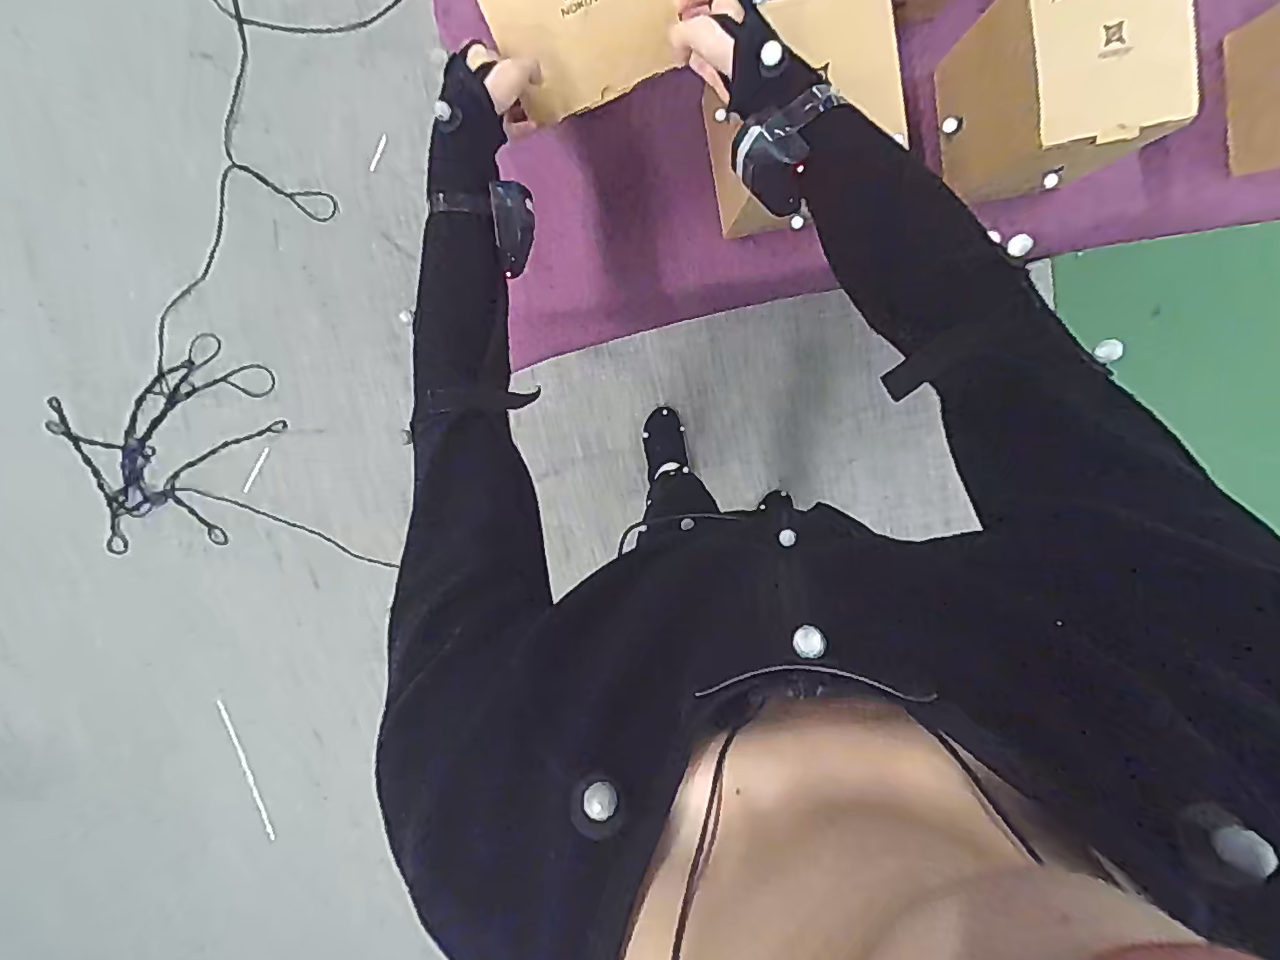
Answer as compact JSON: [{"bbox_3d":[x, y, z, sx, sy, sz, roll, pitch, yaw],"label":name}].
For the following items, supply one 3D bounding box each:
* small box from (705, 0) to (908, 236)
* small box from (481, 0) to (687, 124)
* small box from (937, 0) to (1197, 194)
[{"bbox_3d":[0.175,-0.407,0.618,0.168,0.176,0.179,-11,98,1],"label":"small box"},{"bbox_3d":[-0.072,-0.485,0.521,0.168,0.176,0.179,-22,133,7],"label":"small box"},{"bbox_3d":[0.471,-0.451,0.619,0.168,0.176,0.179,-10,98,-1],"label":"small box"}]
